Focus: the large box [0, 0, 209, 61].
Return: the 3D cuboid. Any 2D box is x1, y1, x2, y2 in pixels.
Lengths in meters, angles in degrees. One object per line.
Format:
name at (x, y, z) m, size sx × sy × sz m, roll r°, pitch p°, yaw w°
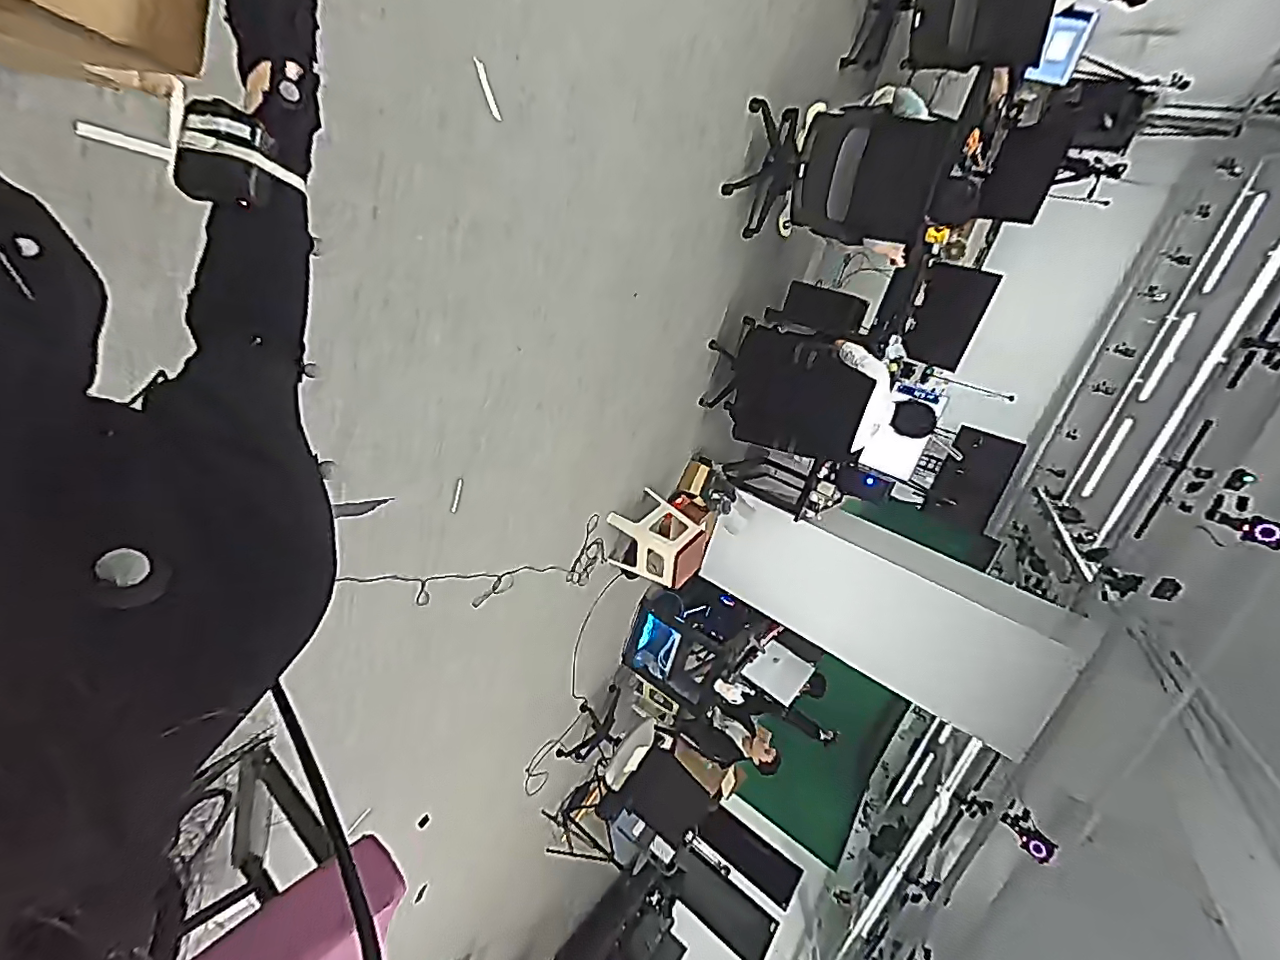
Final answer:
large box at (-0.519, -0.510, 0.283) m, size 0.408 × 0.320 × 0.320 m, roll -7°, pitch 121°, yaw -59°
